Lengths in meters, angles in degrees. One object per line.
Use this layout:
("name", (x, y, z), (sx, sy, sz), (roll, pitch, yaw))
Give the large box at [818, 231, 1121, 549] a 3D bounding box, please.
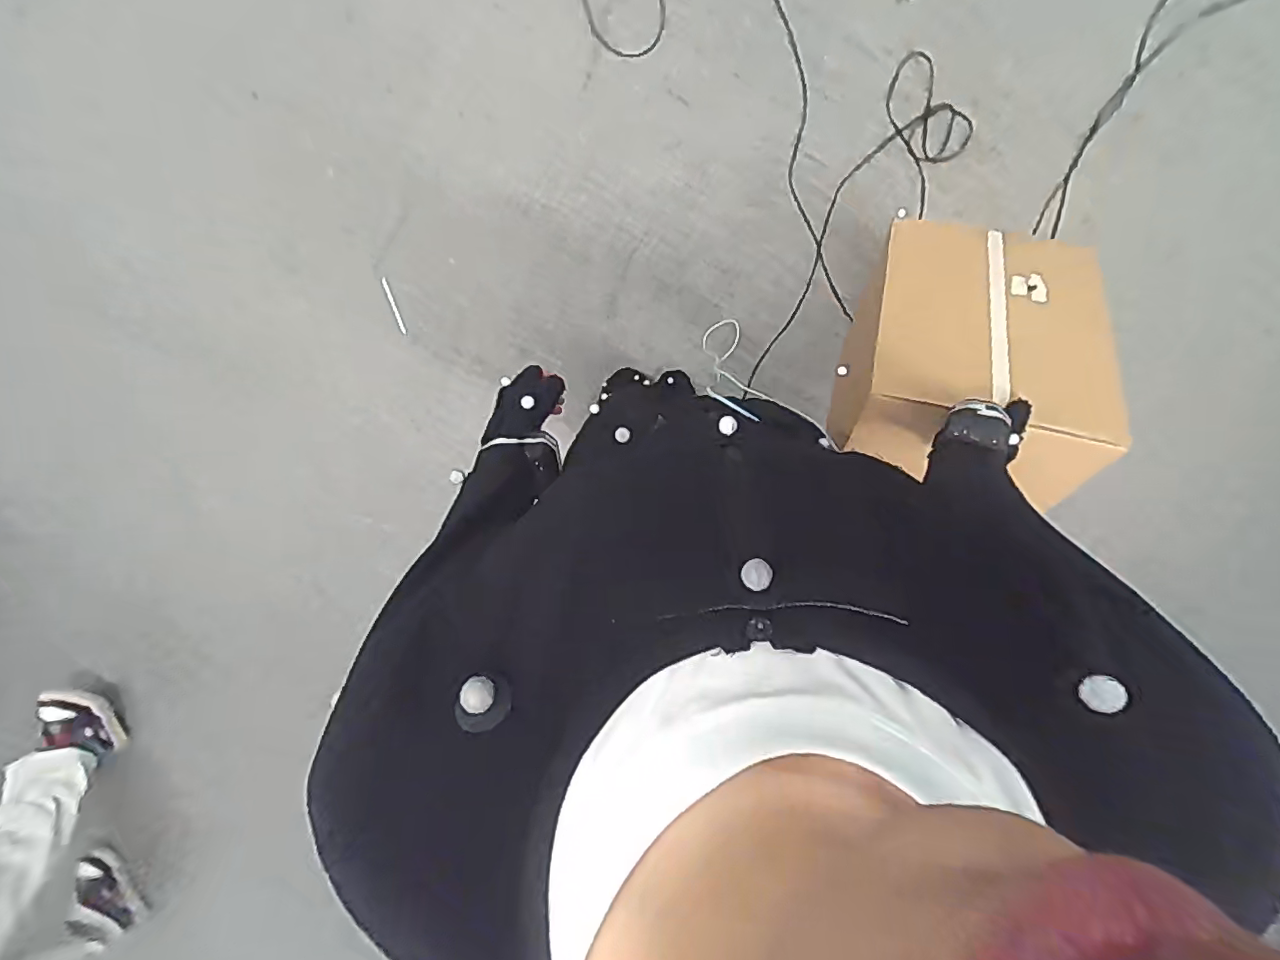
("large box", (0.516, -0.150, 0.923), (0.320, 0.320, 0.408), (16, 60, 10))
